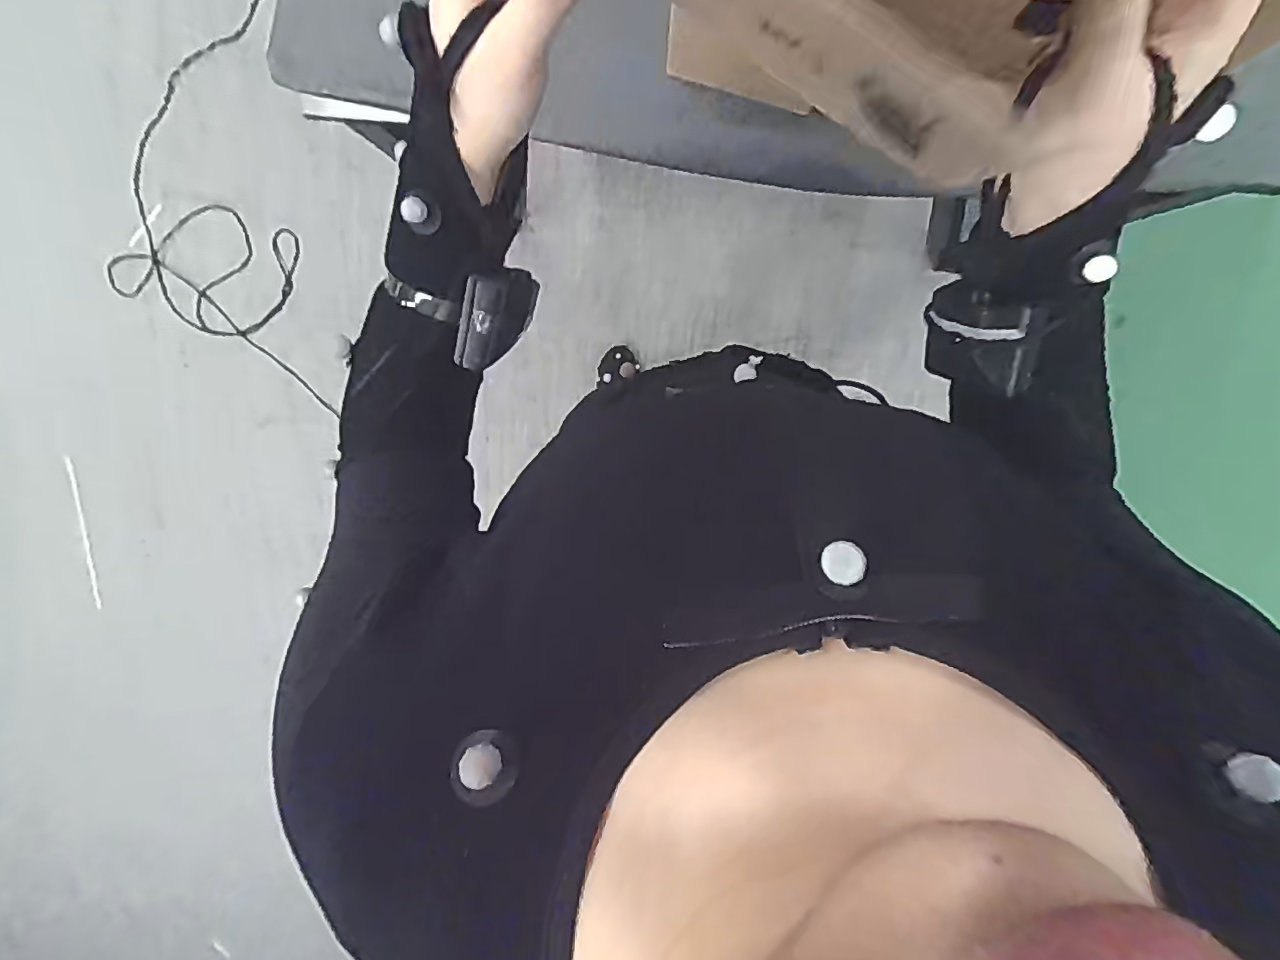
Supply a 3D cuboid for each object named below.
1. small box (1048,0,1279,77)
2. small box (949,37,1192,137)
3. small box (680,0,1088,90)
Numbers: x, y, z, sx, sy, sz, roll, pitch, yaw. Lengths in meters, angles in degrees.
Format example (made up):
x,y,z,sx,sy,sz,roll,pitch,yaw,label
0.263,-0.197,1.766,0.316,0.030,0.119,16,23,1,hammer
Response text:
x,y,z,sx,sy,sz,roll,pitch,yaw,label
0.438,-0.434,0.387,0.179,0.176,0.168,17,102,0,small box
0.444,-0.482,0.542,0.168,0.176,0.179,6,102,1,small box
0.085,-0.251,0.159,0.179,0.168,0.176,26,122,10,small box
